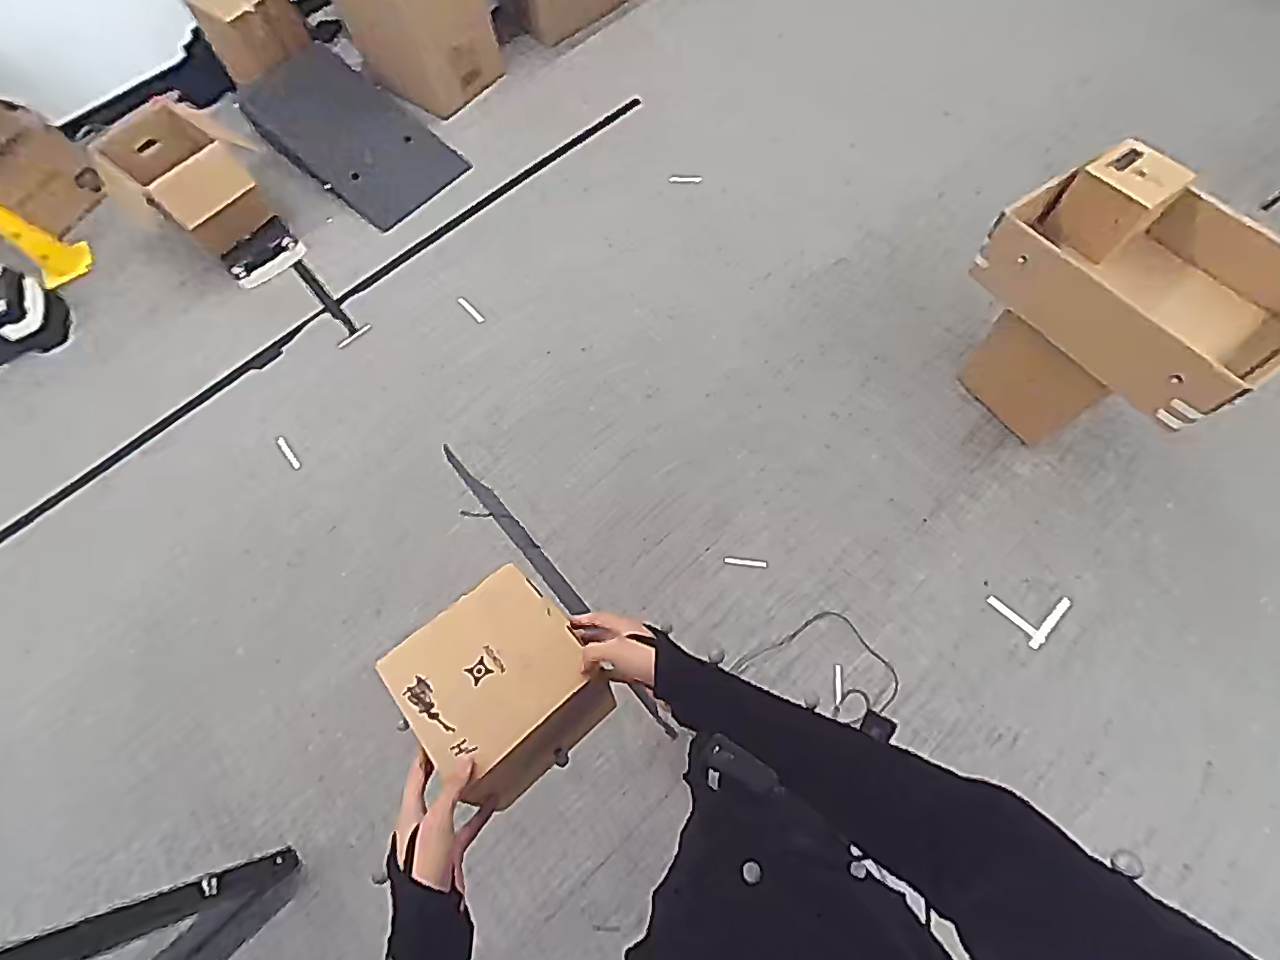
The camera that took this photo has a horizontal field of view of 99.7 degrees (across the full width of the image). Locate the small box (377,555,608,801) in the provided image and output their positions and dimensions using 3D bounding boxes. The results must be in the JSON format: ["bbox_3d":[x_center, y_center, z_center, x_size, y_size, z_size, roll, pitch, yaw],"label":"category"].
[{"bbox_3d":[-0.149,0.224,0.608,0.179,0.176,0.168,-37,60,-21],"label":"small box"}]
